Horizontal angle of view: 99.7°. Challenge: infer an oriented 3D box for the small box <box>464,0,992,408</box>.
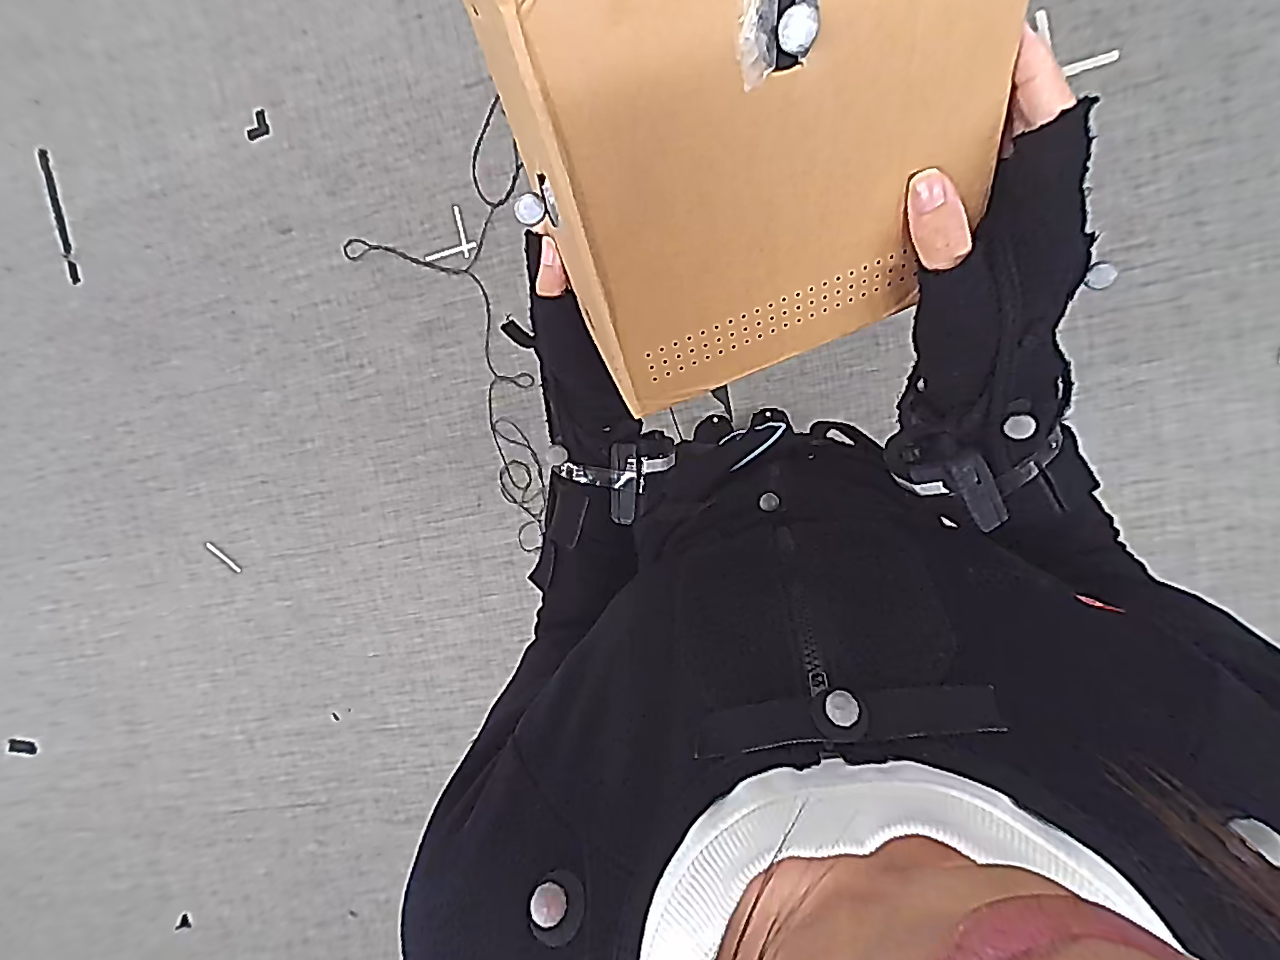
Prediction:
[{"bbox_3d":[0.037,-0.163,0.260,0.179,0.168,0.176,-22,135,-2],"label":"small box"}]
